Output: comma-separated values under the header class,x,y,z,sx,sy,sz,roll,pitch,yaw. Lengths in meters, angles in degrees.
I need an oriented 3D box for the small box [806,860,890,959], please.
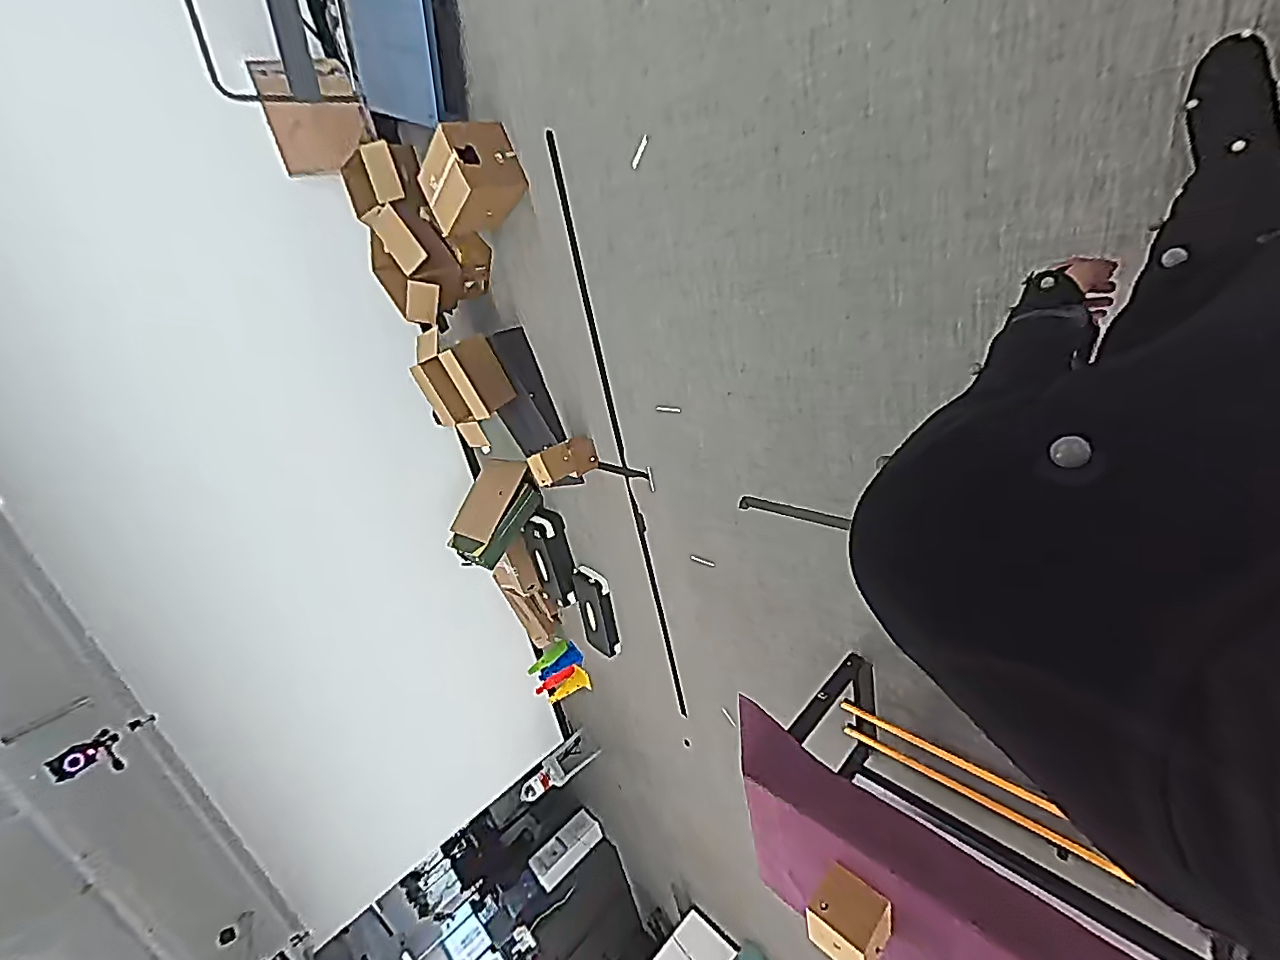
class,x,y,z,sx,sy,sz,roll,pitch,yaw
small box,0.605,1.261,1.565,0.179,0.176,0.168,15,126,46
